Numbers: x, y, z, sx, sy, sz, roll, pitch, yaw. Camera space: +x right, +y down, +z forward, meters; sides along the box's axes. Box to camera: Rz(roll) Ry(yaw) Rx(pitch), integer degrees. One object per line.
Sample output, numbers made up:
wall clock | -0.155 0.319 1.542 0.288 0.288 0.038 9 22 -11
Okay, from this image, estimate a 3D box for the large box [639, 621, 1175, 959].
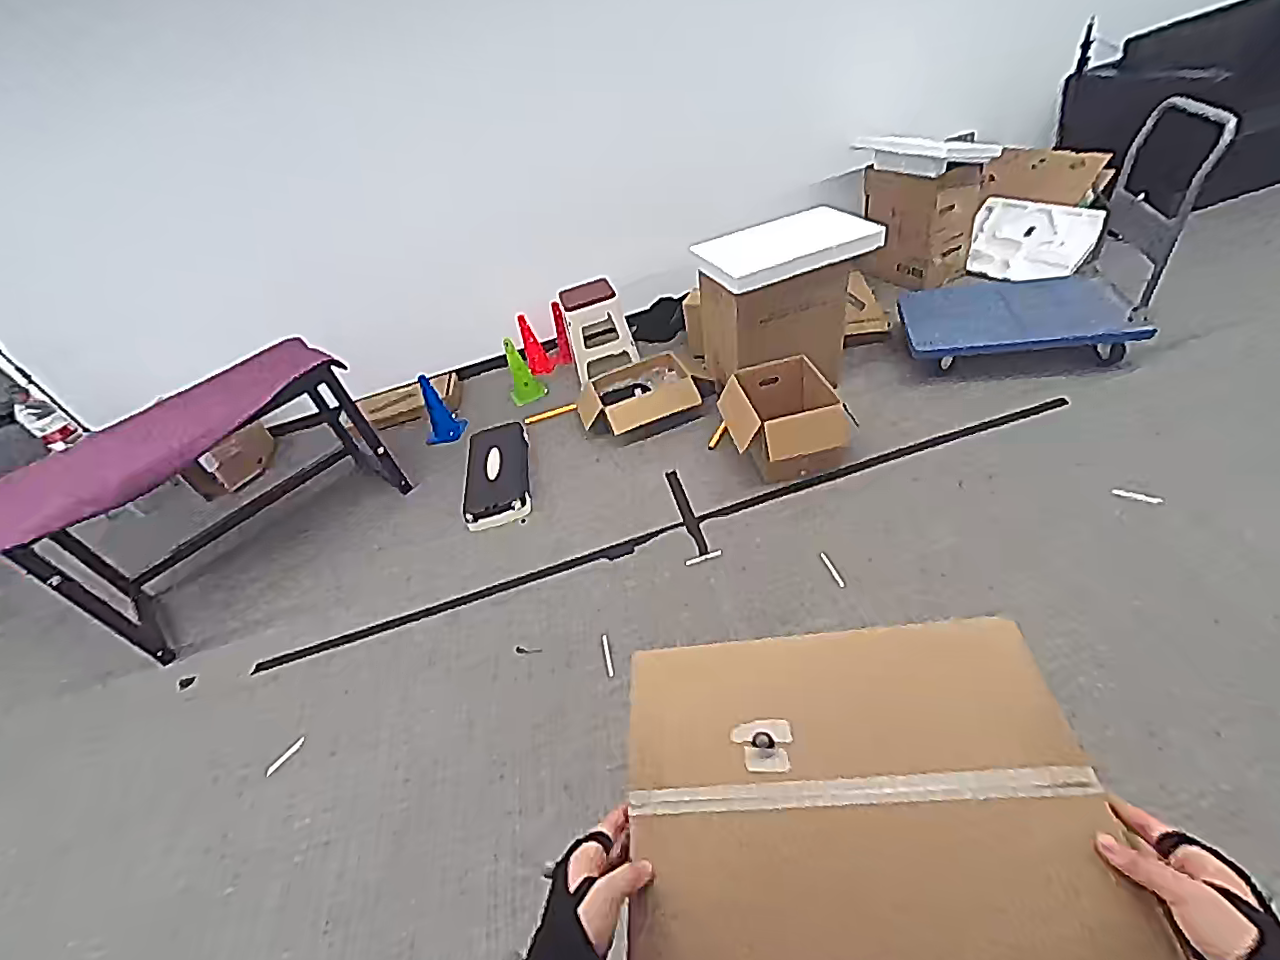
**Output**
large box | 0.231 0.391 0.607 0.408 0.320 0.320 -10 45 11
